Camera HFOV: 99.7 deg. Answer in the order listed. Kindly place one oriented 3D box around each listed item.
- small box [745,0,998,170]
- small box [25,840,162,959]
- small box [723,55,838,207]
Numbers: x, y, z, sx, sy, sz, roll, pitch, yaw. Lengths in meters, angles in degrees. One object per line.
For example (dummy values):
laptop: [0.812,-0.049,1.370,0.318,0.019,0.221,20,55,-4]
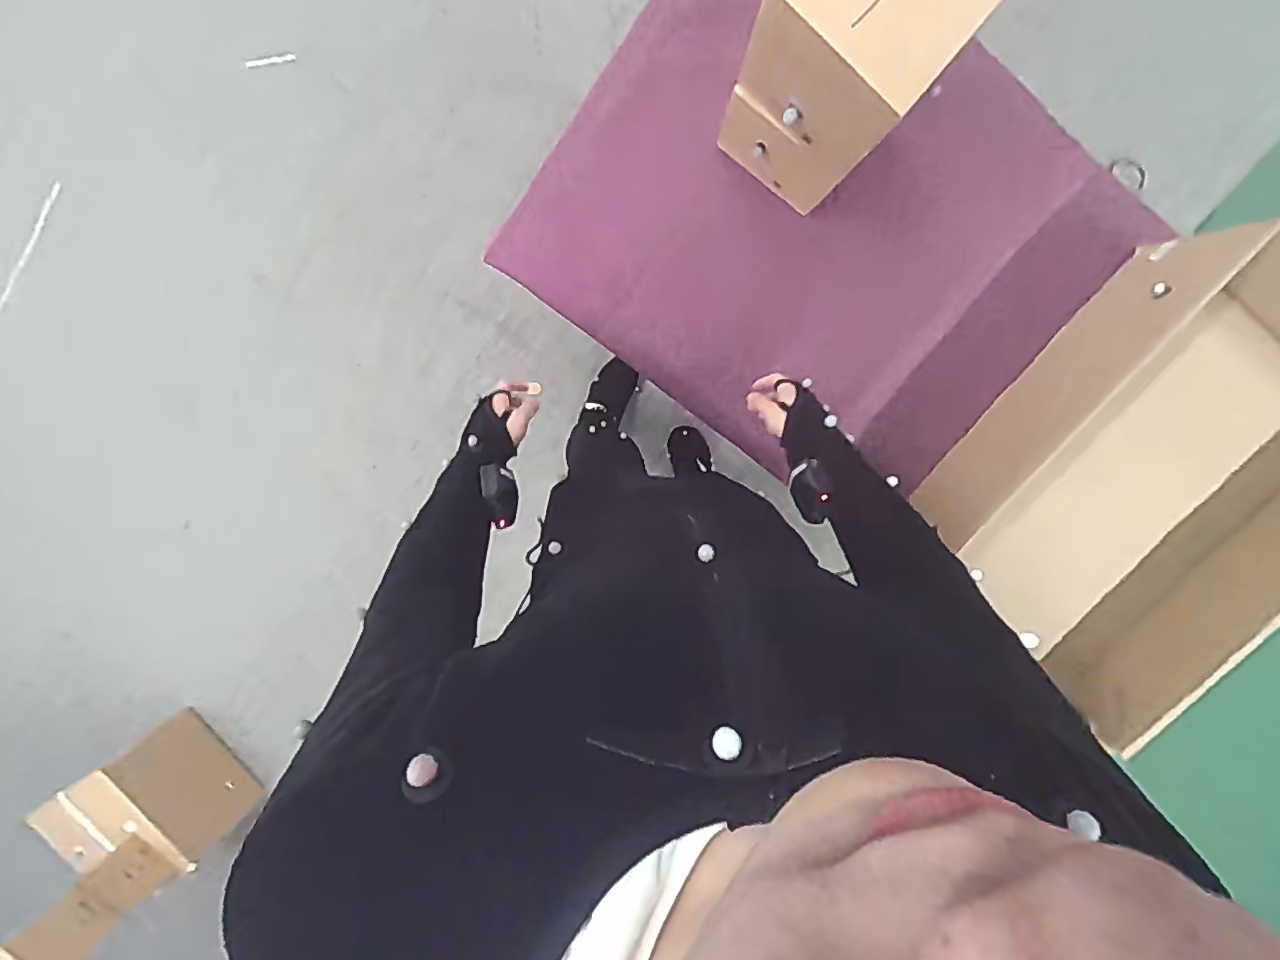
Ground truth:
small box: [0.225,-0.457,0.533,0.168,0.176,0.179,40,100,-6]
small box: [-1.475,1.141,1.477,0.179,0.176,0.168,-41,97,7]
small box: [0.222,-0.491,0.695,0.168,0.176,0.179,36,99,-5]
